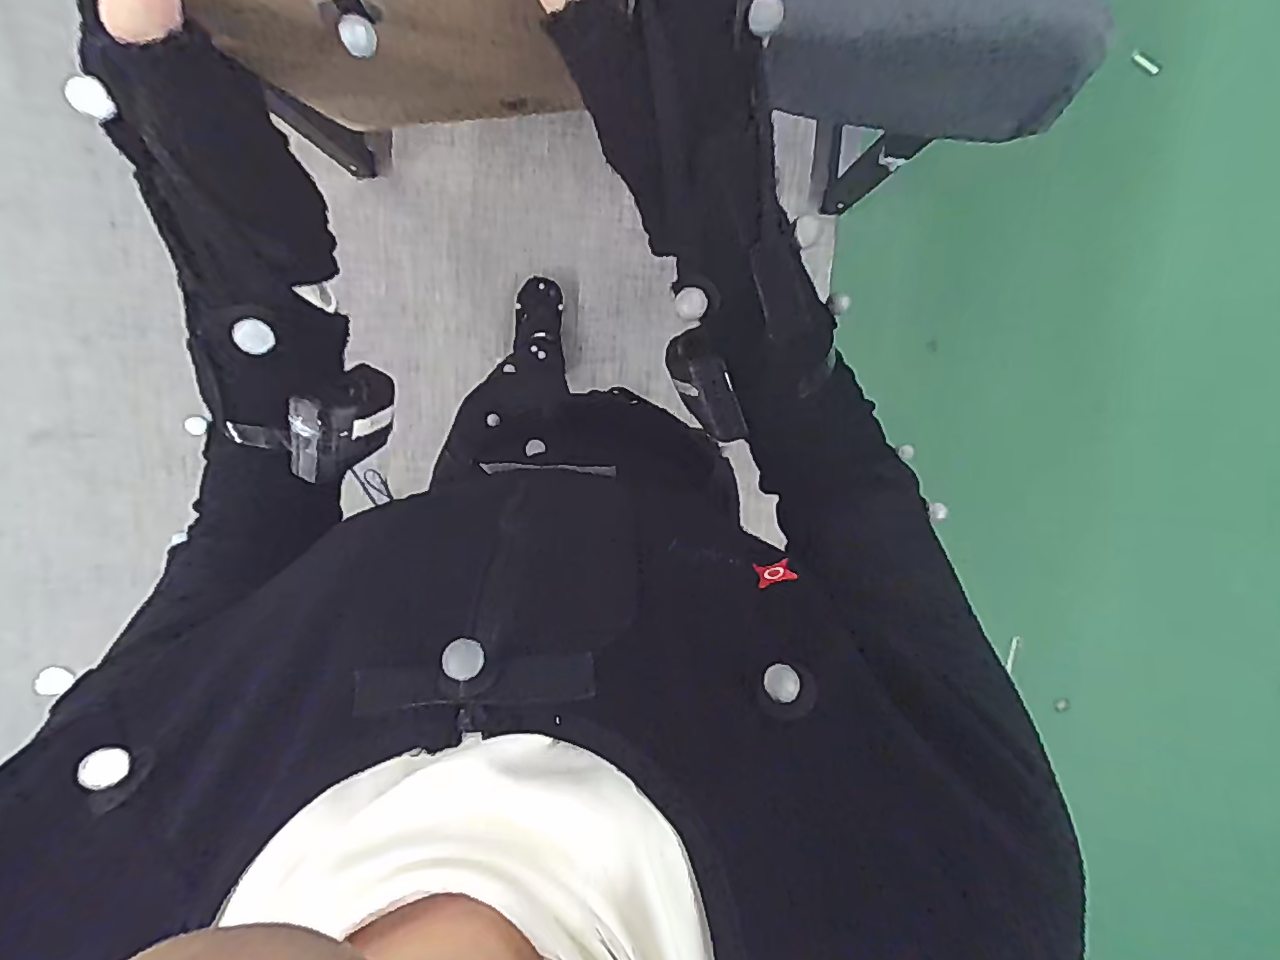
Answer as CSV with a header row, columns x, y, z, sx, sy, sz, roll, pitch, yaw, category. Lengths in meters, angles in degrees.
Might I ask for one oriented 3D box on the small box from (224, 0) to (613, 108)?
x,y,z,sx,sy,sz,roll,pitch,yaw,category
-0.100,-0.280,0.213,0.168,0.176,0.179,-6,110,0,small box
